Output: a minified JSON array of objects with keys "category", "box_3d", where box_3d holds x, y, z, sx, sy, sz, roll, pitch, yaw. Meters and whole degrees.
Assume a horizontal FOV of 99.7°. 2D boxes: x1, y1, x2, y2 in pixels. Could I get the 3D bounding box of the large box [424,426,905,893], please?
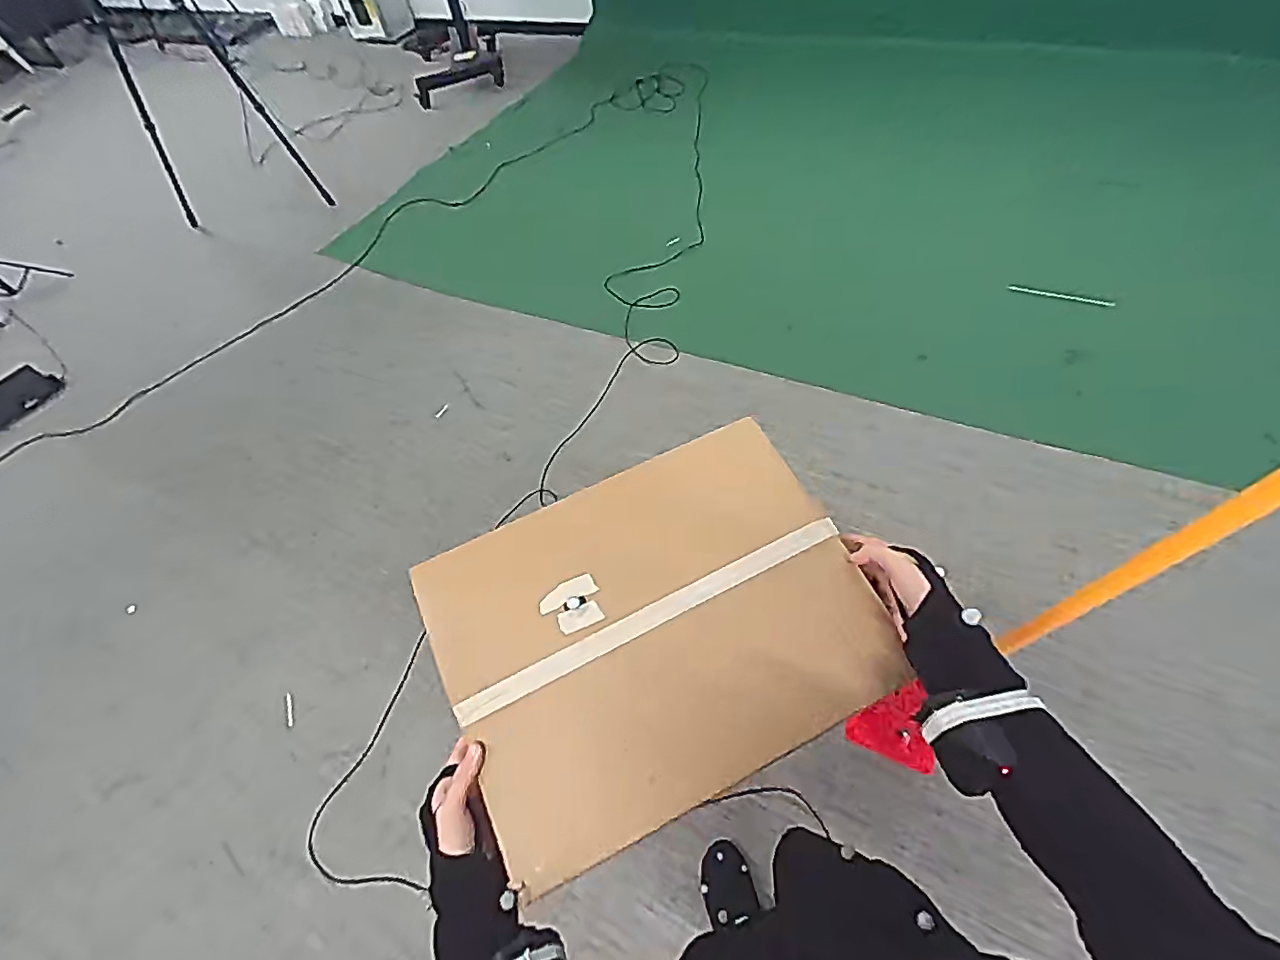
[{"category":"large box","box_3d":[0.021,0.200,0.677,0.408,0.320,0.320,-25,67,-9]}]
